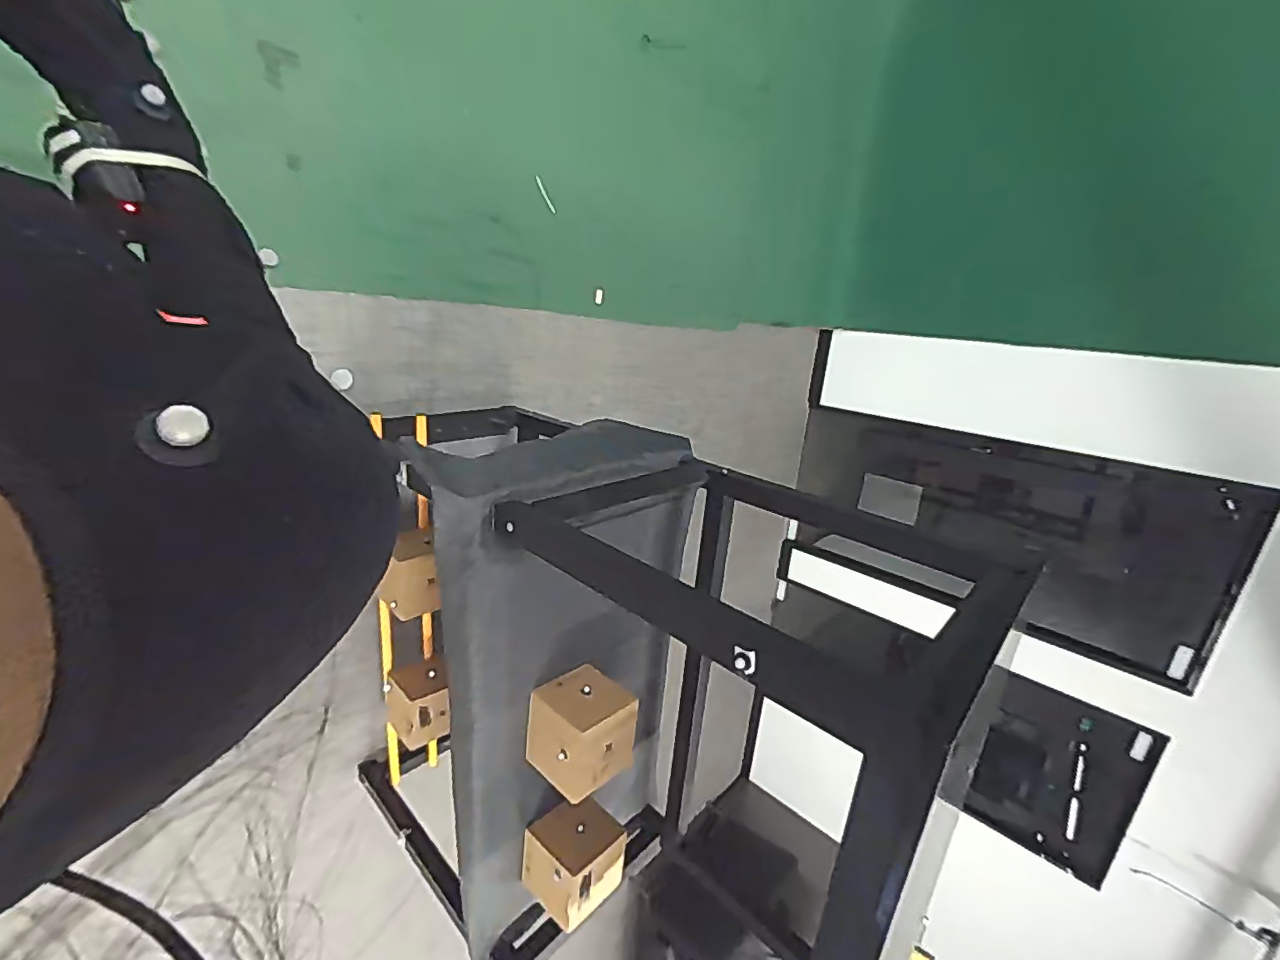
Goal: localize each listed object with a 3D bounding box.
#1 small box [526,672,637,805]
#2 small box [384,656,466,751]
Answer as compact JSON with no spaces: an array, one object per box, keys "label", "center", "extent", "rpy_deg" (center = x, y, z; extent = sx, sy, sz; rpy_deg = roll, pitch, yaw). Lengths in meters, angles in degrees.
[{"label":"small box","center":[-0.129,0.539,1.166],"extent":[0.168,0.176,0.179],"rpy_deg":[-9,112,-47]},{"label":"small box","center":[-0.643,0.655,1.607],"extent":[0.179,0.176,0.168],"rpy_deg":[-9,112,-47]}]
